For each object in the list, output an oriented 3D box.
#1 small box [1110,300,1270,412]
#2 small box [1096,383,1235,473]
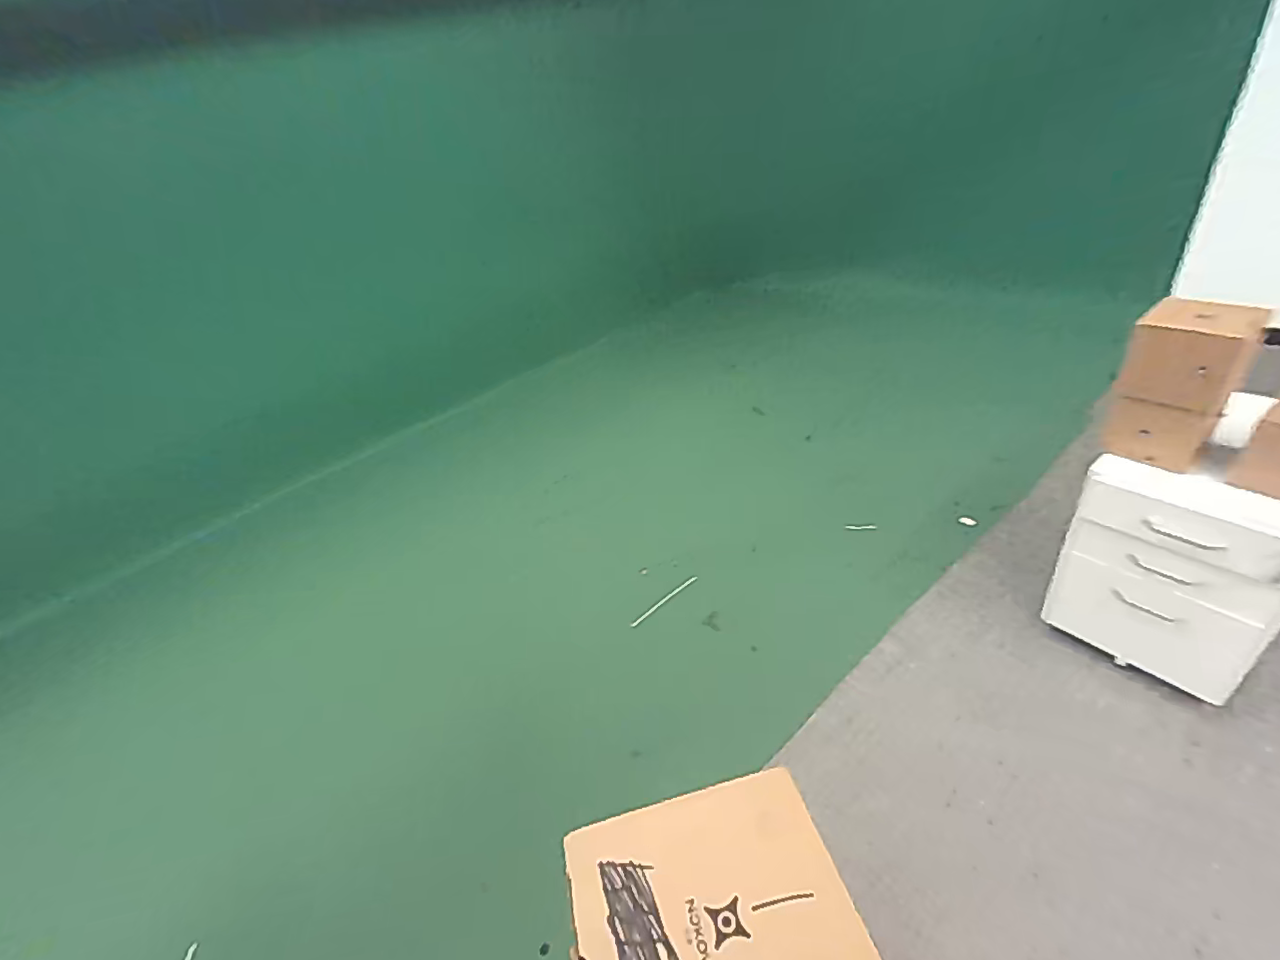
[{"bbox_3d":[1.164,-0.264,1.157,0.168,0.176,0.179,-31,38,-24],"label":"small box"},{"bbox_3d":[1.208,-0.143,1.257,0.179,0.176,0.168,-31,40,-22],"label":"small box"}]
